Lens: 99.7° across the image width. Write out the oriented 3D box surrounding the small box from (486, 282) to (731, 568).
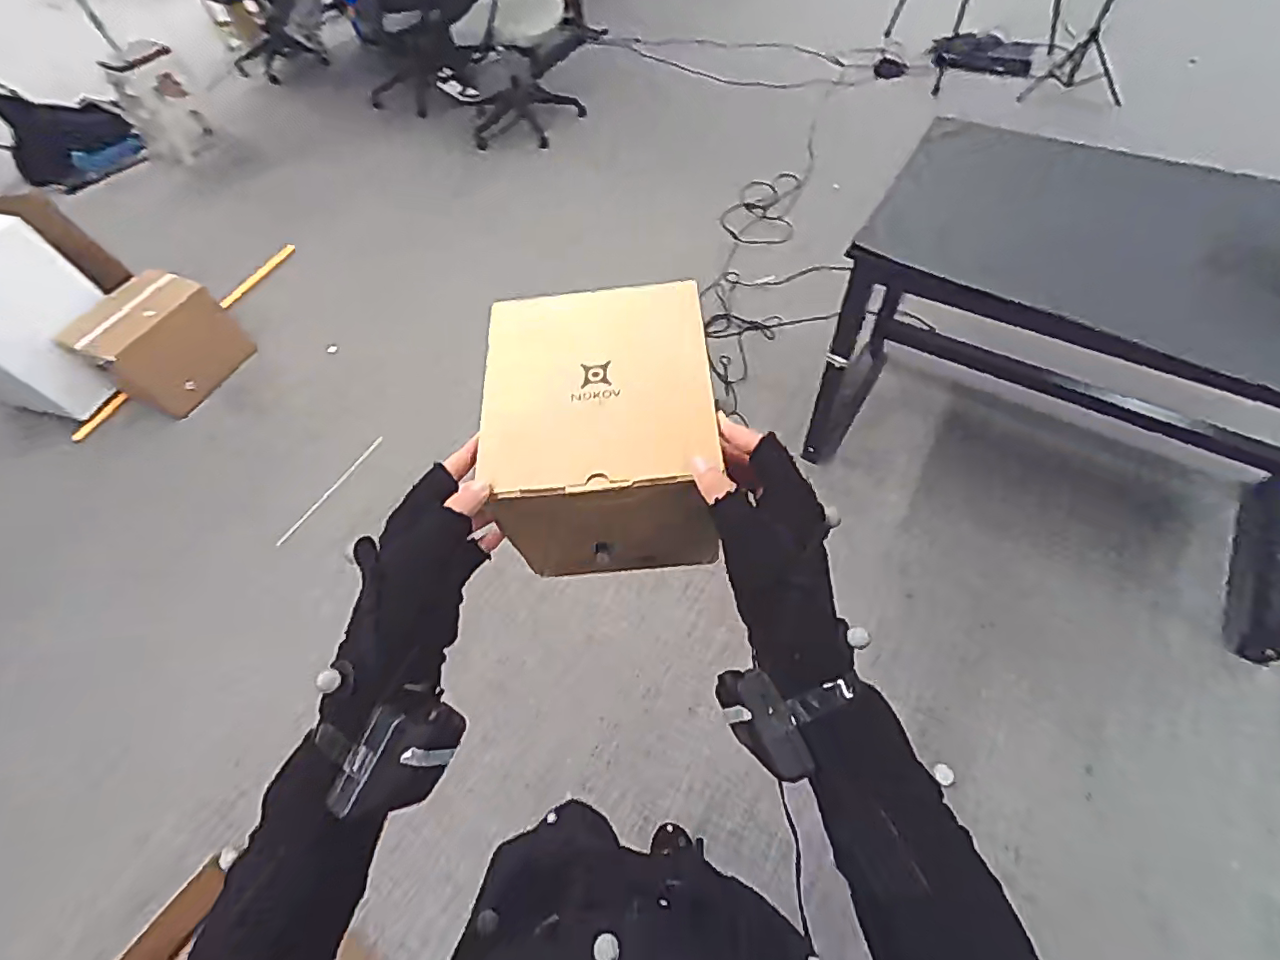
[{"bbox_3d":[-0.018,-0.038,0.464,0.168,0.176,0.179,-5,62,3],"label":"small box"}]
